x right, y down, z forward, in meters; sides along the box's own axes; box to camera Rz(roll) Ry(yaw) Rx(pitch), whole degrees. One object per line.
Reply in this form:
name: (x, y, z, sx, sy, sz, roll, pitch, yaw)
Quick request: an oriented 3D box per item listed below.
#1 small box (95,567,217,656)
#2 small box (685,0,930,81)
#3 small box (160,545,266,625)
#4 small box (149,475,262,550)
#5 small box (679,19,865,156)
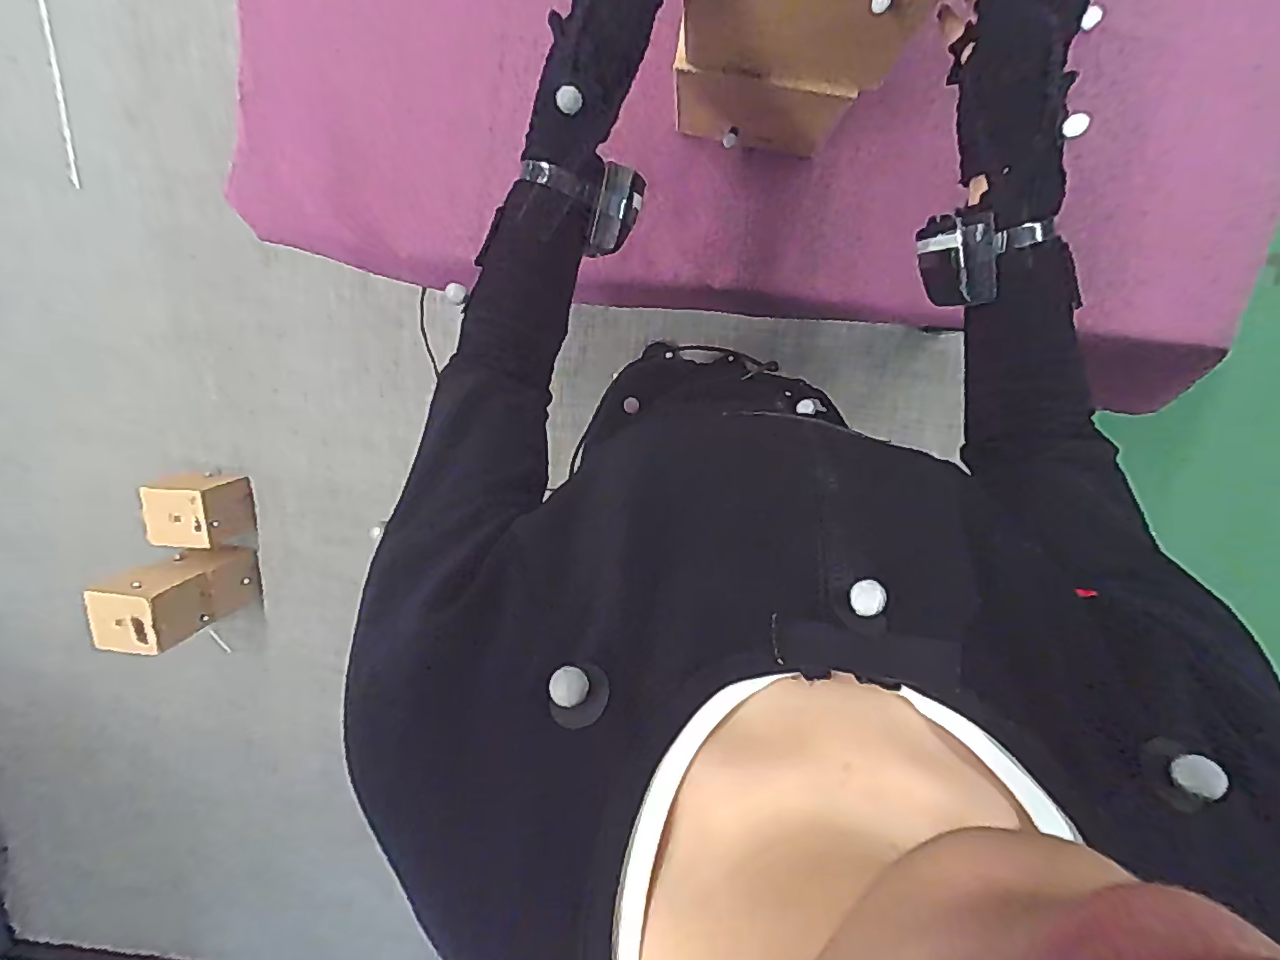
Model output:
small box: (-1.269, 0.343, 1.436, 0.179, 0.176, 0.168, 5, 105, 4)
small box: (0.128, -0.410, 0.370, 0.179, 0.176, 0.168, 9, 105, 2)
small box: (-1.249, 0.302, 1.593, 0.179, 0.176, 0.168, 7, 106, 3)
small box: (-1.223, 0.085, 1.533, 0.179, 0.176, 0.168, 4, 106, 4)
small box: (0.134, -0.450, 0.527, 0.168, 0.176, 0.179, 11, 106, 2)
